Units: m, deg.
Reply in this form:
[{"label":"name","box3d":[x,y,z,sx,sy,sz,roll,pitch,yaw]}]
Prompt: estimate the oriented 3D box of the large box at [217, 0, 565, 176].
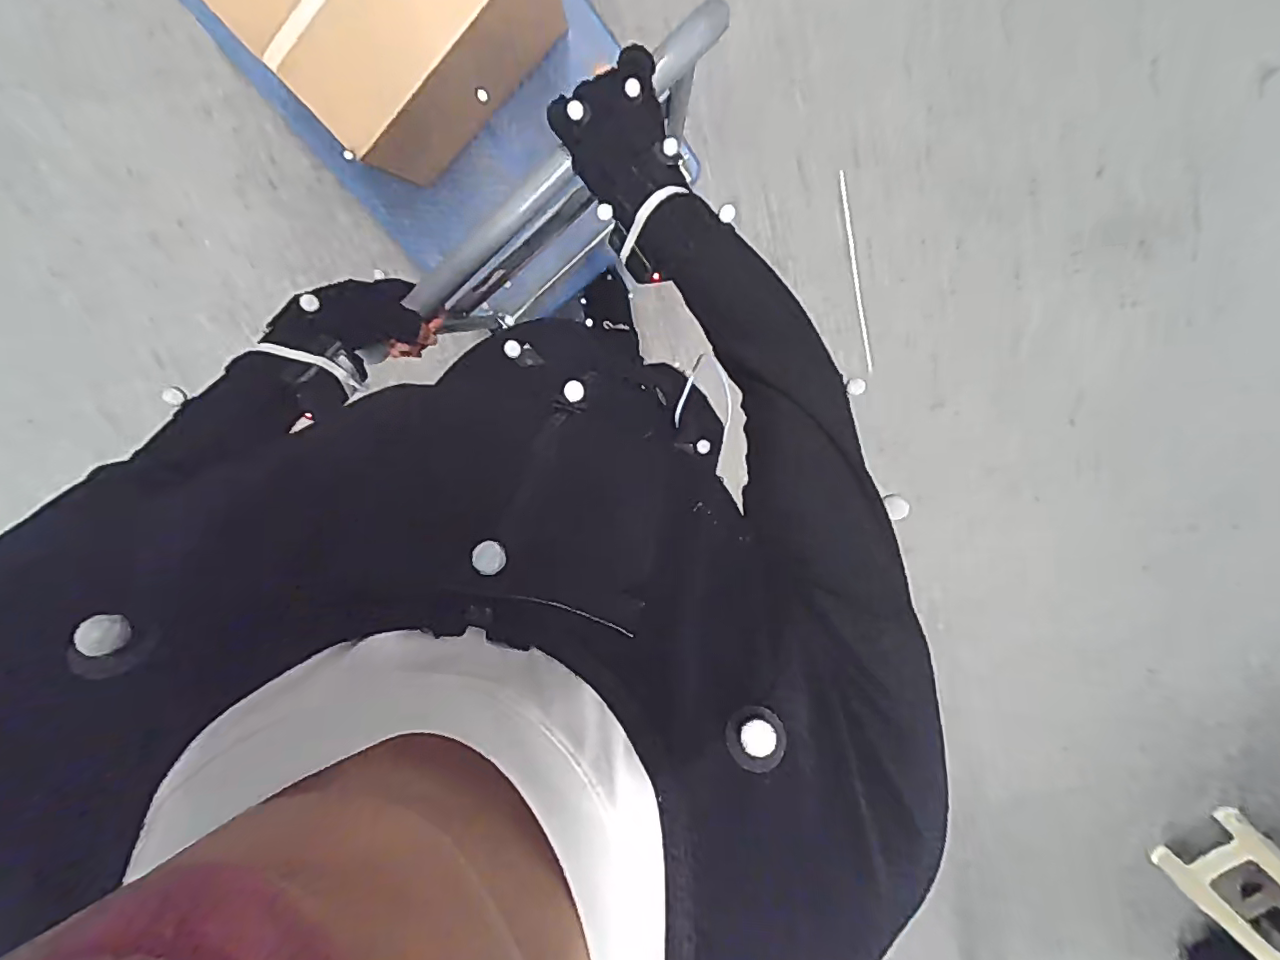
[{"label":"large box","box3d":[-0.374,-0.779,0.861,0.408,0.320,0.320,-41,107,14]}]
